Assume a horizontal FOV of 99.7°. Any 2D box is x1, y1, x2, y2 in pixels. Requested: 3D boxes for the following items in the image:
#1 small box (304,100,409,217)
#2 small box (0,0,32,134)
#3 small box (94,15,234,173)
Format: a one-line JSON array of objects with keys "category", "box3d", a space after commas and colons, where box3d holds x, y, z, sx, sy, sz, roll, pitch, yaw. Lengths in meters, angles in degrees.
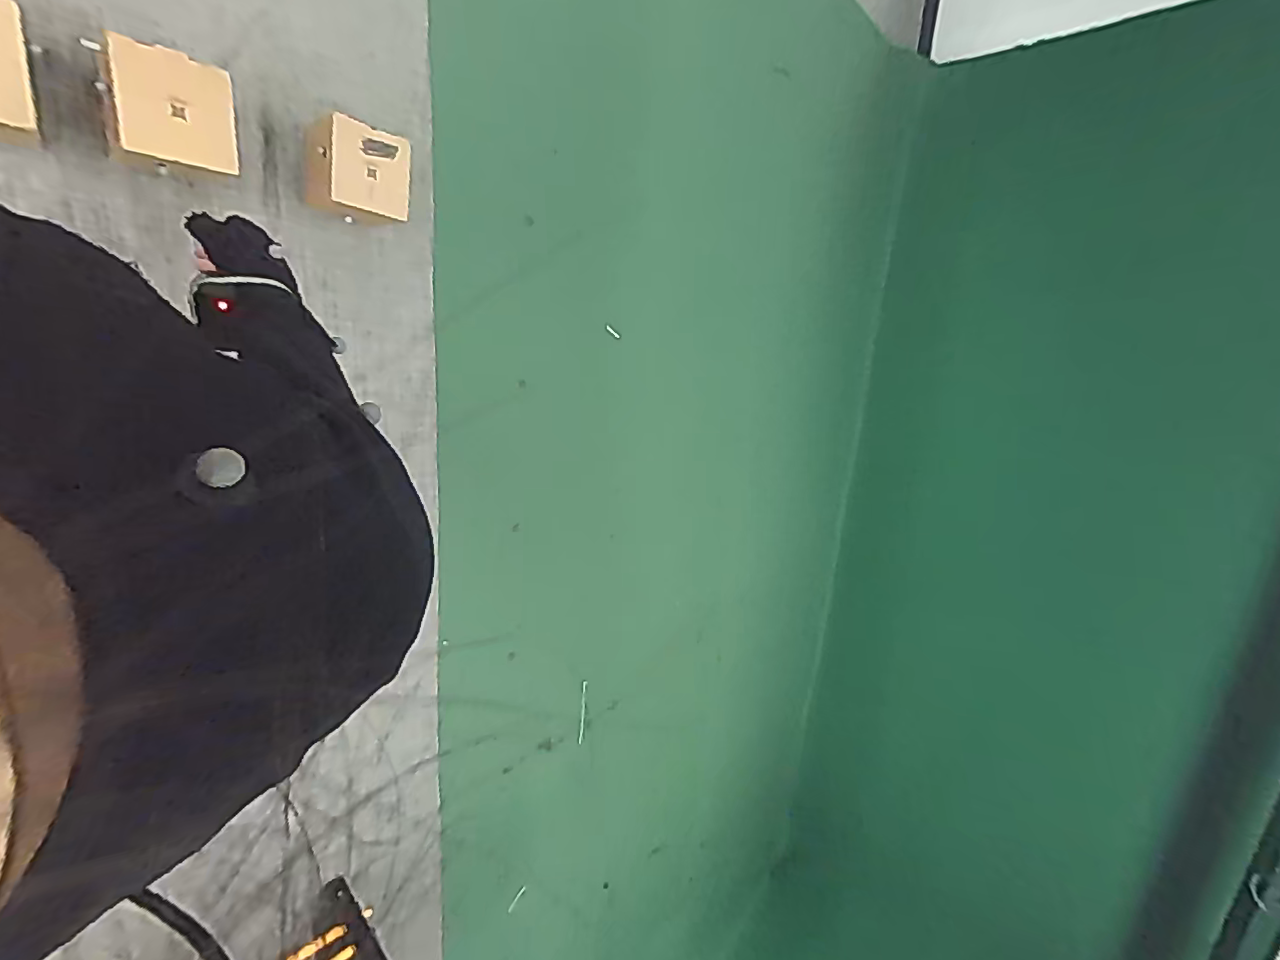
[{"category": "small box", "box3d": [-0.645, -0.715, 1.224, 0.168, 0.176, 0.179, -5, 108, -47]}, {"category": "small box", "box3d": [-1.038, -0.649, 0.801, 0.168, 0.176, 0.179, -9, 110, -46]}, {"category": "small box", "box3d": [-0.866, -0.684, 0.986, 0.168, 0.176, 0.179, -11, 111, -47]}]
